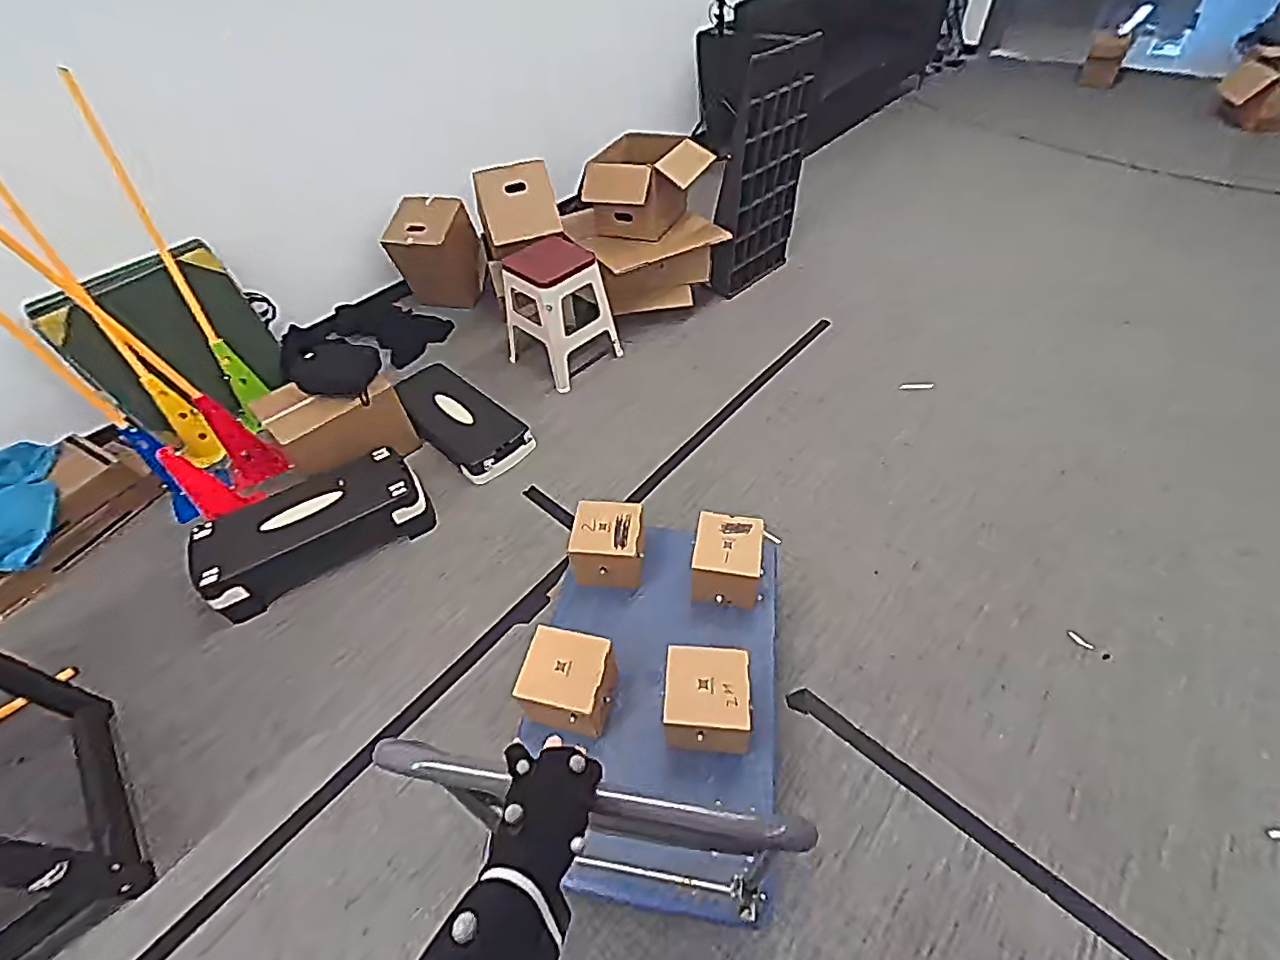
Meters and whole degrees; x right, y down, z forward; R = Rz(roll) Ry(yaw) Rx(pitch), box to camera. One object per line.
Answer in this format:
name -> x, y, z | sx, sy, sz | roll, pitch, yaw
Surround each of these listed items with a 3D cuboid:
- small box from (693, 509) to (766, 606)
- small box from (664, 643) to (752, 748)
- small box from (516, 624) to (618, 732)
small box -> 0.230, 0.202, 1.410 | 0.168, 0.176, 0.179 | 7, 51, 10
small box -> 0.149, 0.473, 1.182 | 0.179, 0.176, 0.168 | 2, 50, 7
small box -> -0.156, 0.452, 1.226 | 0.179, 0.176, 0.168 | 9, 50, 10
